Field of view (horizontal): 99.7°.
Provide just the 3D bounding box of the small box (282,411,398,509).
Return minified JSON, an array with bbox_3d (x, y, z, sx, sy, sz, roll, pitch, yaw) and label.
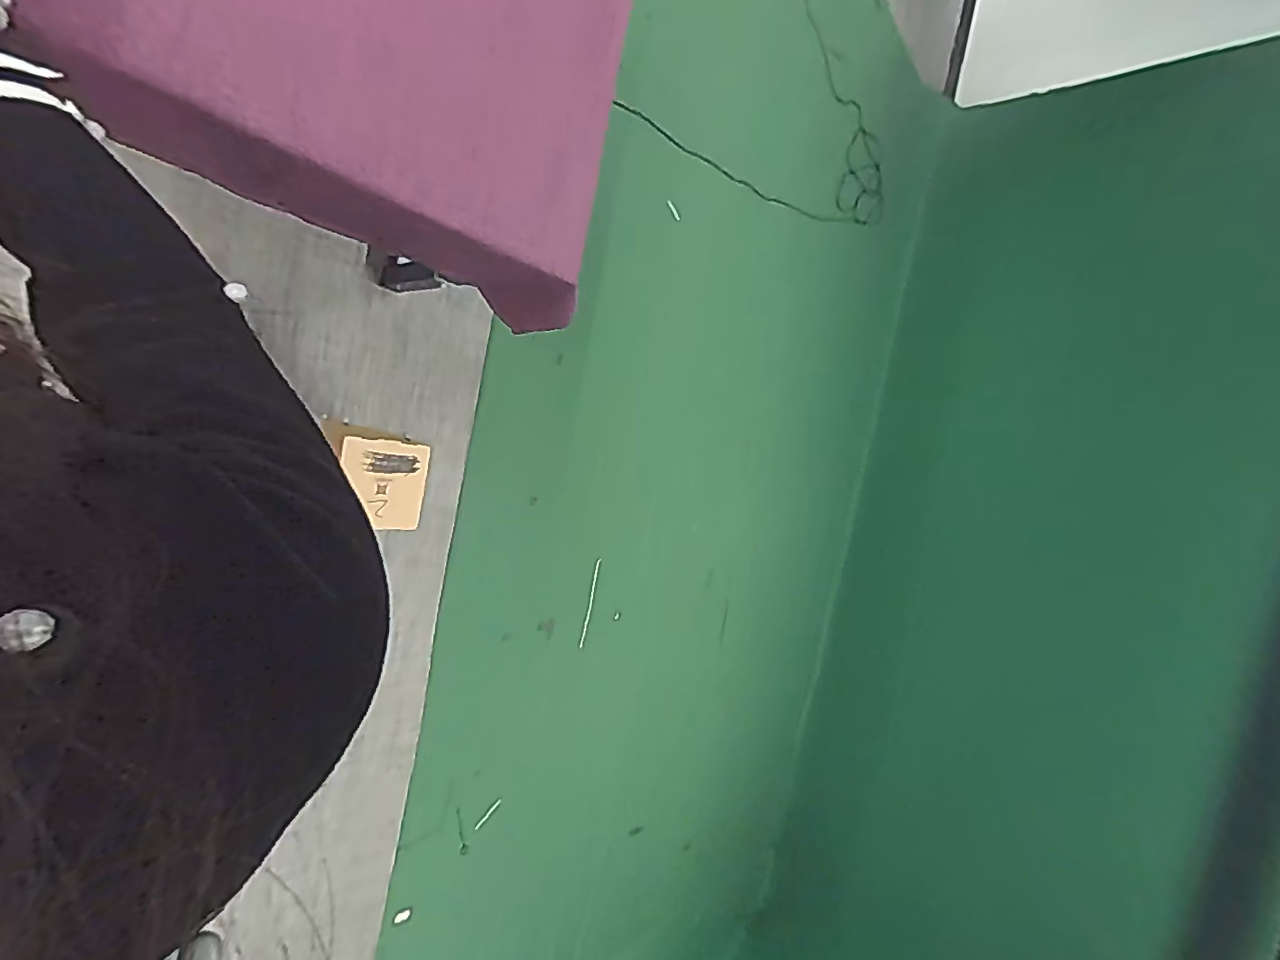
[{"bbox_3d":[-0.664,-0.045,1.188,0.168,0.176,0.179,8,95,-50],"label":"small box"}]
